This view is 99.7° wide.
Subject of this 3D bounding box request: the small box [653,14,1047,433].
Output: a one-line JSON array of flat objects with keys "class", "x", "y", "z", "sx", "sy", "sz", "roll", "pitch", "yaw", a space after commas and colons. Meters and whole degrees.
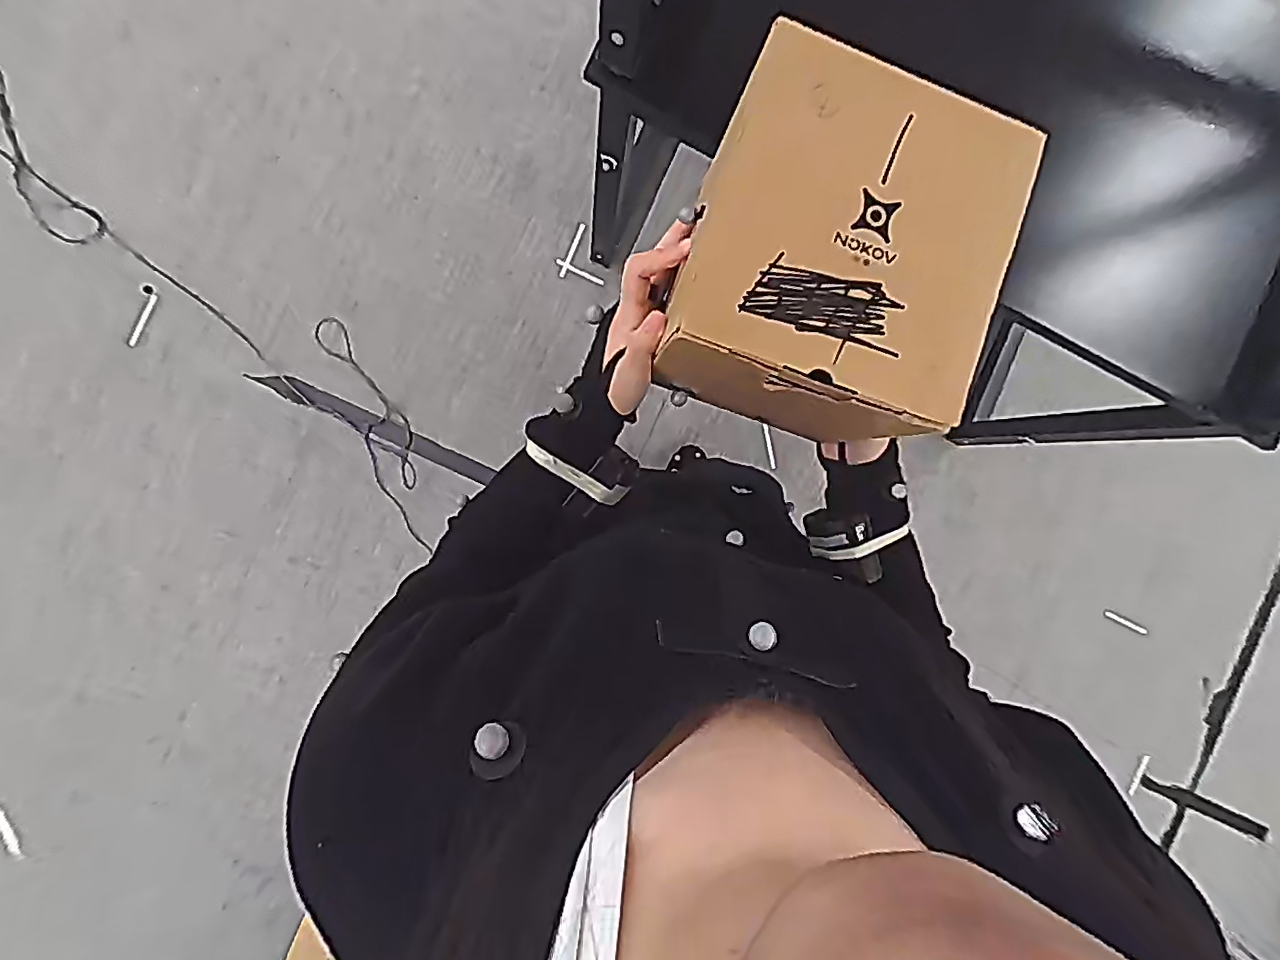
[{"class": "small box", "x": 0.114, "y": -0.138, "z": 0.368, "sx": 0.168, "sy": 0.176, "sz": 0.179, "roll": 18, "pitch": 89, "yaw": -7}]
